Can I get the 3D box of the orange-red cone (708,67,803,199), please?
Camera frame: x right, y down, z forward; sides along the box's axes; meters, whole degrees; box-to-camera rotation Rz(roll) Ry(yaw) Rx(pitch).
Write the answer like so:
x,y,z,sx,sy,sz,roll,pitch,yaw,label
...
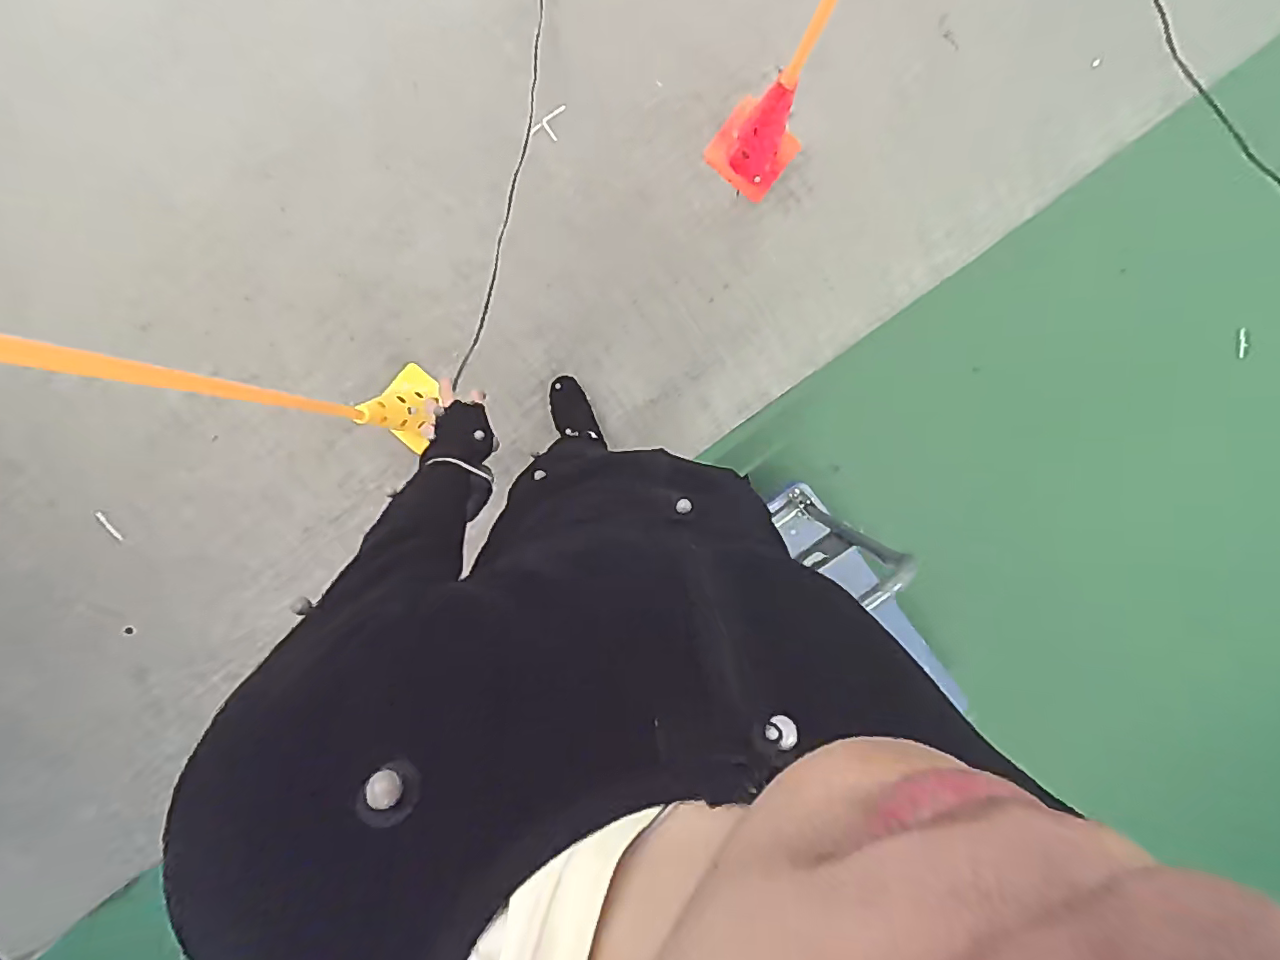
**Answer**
x,y,z,sx,sy,sz,roll,pitch,yaw,label
0.315,-0.873,1.300,0.198,0.360,0.199,39,95,-8,orange-red cone
